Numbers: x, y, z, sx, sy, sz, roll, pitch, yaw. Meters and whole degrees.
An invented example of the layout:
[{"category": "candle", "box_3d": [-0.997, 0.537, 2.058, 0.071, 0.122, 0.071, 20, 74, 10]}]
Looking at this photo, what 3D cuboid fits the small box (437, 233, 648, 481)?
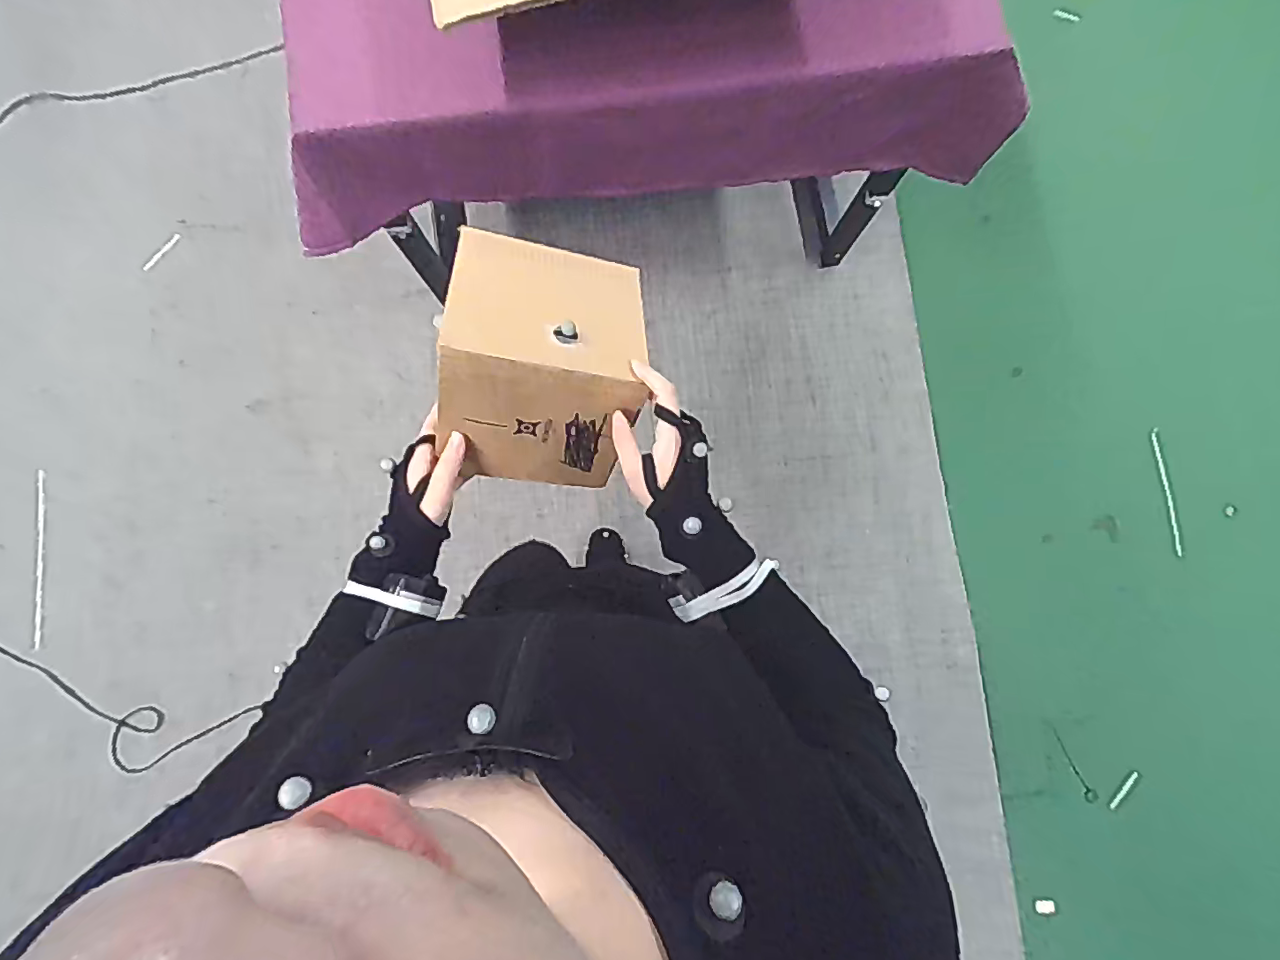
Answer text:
[{"category": "small box", "box_3d": [-0.103, -0.120, 0.551, 0.179, 0.168, 0.176, 8, 54, -16]}]
